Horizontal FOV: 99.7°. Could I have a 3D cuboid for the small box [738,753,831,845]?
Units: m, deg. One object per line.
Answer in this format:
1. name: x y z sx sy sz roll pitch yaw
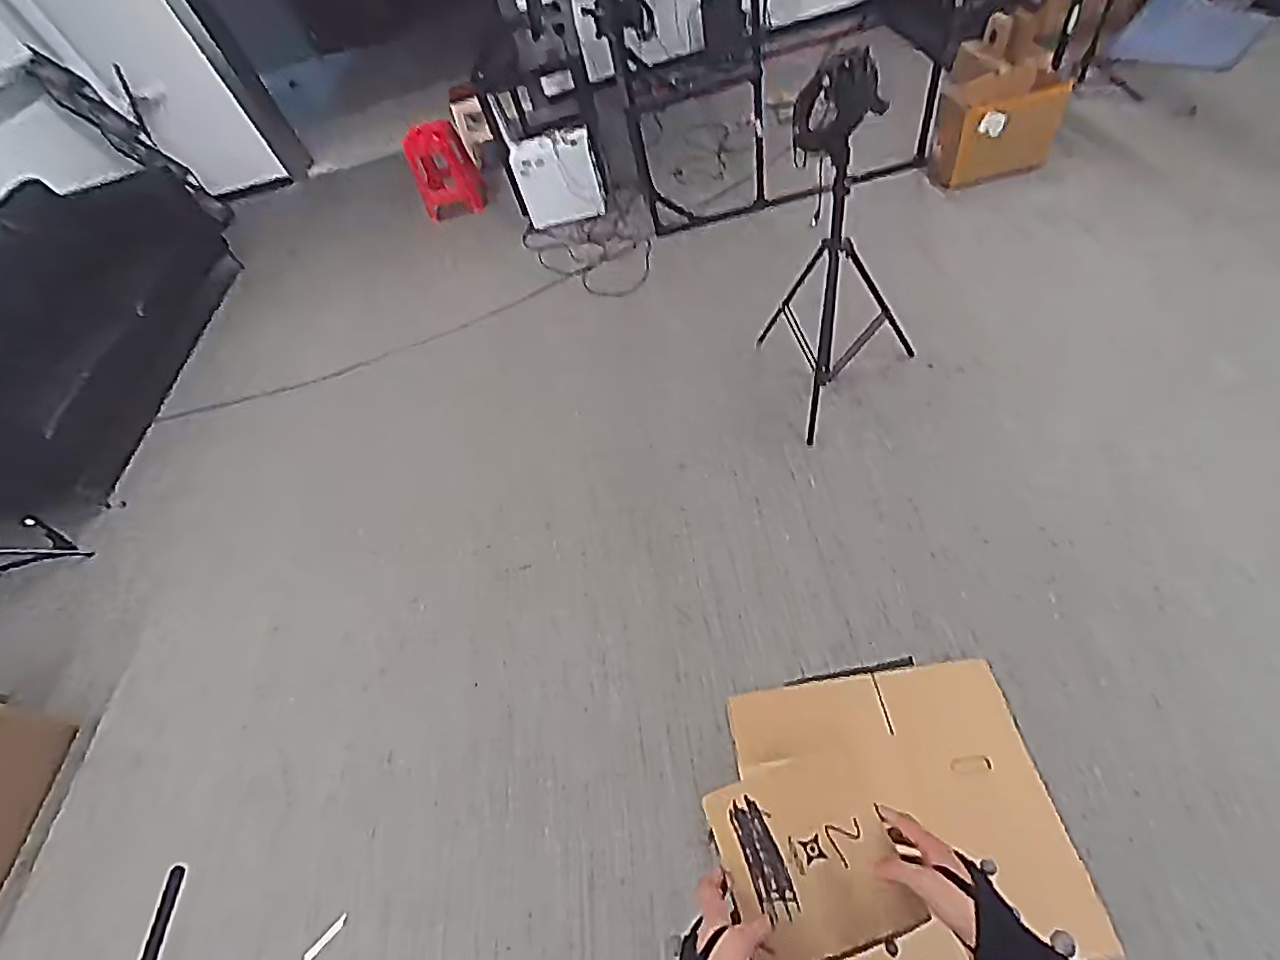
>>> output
1. small box: 0.337 0.757 1.280 0.179 0.176 0.168 -12 53 7
